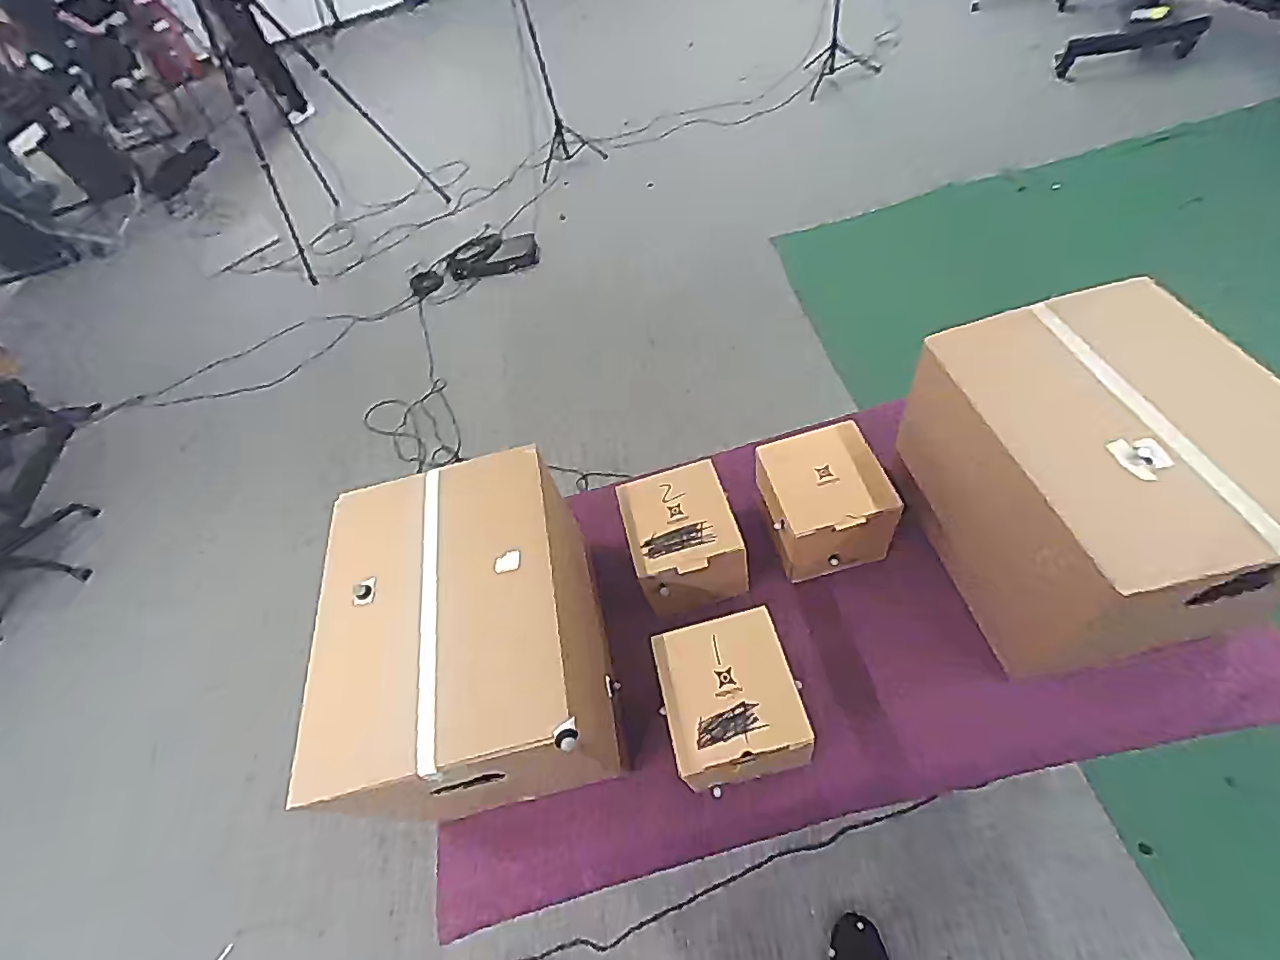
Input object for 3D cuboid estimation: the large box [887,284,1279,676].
[{"bbox_3d":[0.609,0.005,0.757,0.320,0.320,0.408,-16,54,3],"label":"large box"}]
